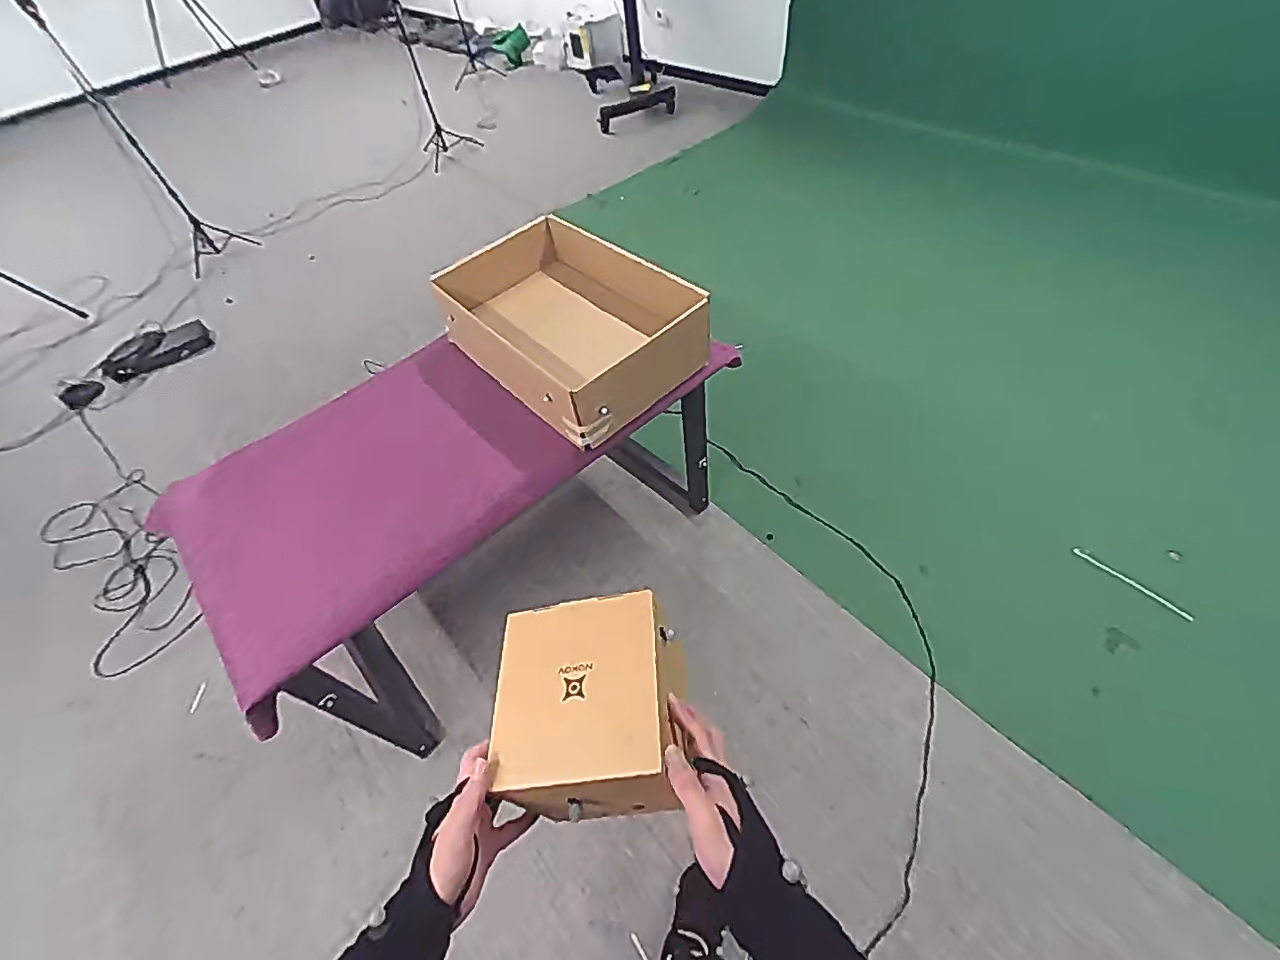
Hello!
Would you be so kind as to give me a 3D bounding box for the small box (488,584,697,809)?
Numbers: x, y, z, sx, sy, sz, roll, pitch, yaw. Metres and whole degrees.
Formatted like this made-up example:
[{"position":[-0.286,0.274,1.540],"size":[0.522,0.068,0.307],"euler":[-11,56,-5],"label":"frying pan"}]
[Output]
[{"position":[-0.040,0.240,0.581],"size":[0.168,0.176,0.179],"euler":[-12,48,11],"label":"small box"}]
